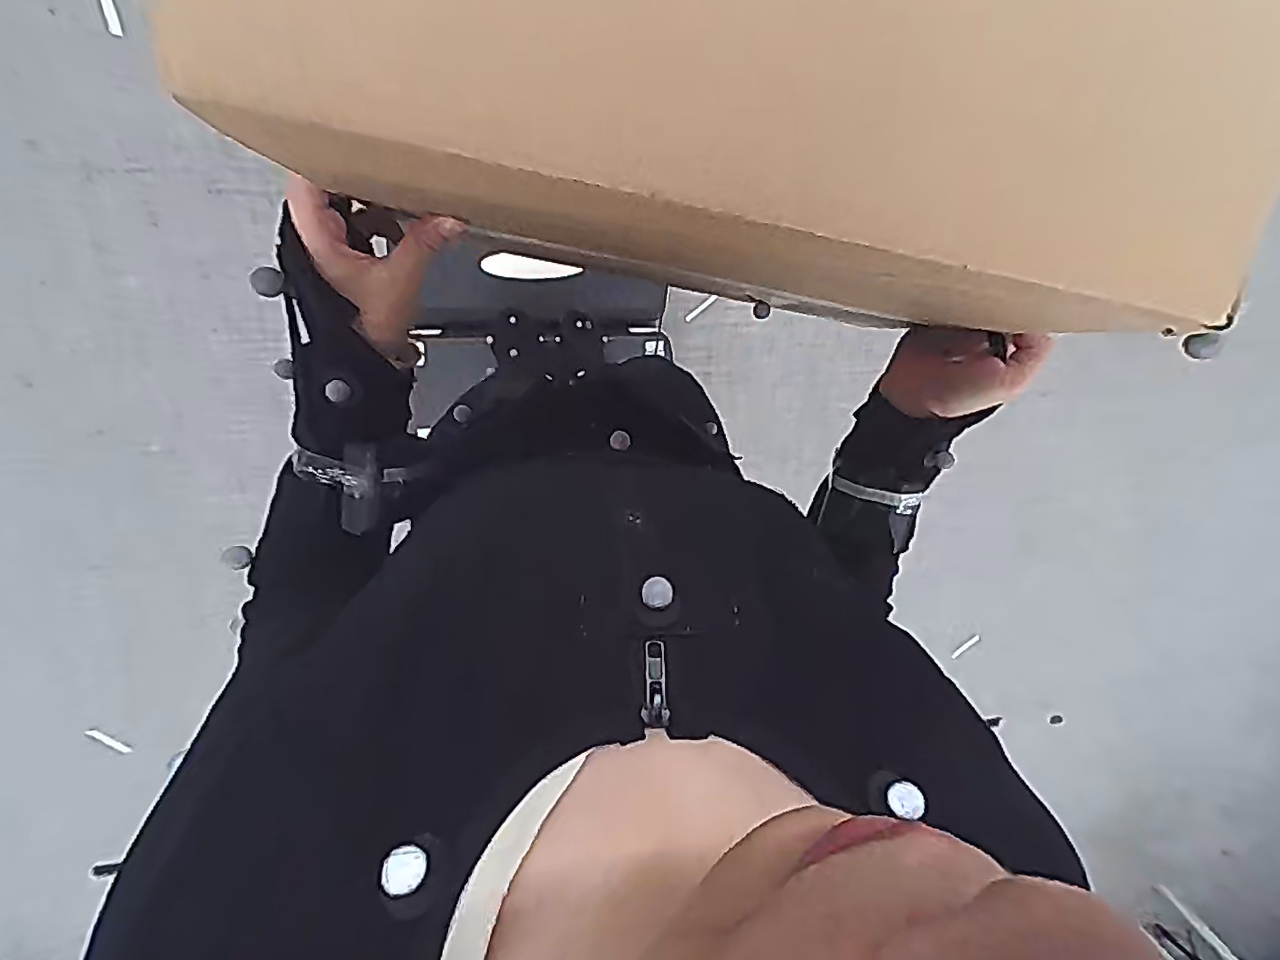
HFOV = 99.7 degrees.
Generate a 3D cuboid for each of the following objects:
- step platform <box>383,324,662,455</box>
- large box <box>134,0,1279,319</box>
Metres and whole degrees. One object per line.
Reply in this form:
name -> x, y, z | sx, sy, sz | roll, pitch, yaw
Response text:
step platform -> -0.285, -0.229, 1.392 | 0.684, 0.204, 0.286 | 2, 109, -9
large box -> 0.046, -0.282, 0.294 | 0.408, 0.320, 0.320 | 7, 107, -8
